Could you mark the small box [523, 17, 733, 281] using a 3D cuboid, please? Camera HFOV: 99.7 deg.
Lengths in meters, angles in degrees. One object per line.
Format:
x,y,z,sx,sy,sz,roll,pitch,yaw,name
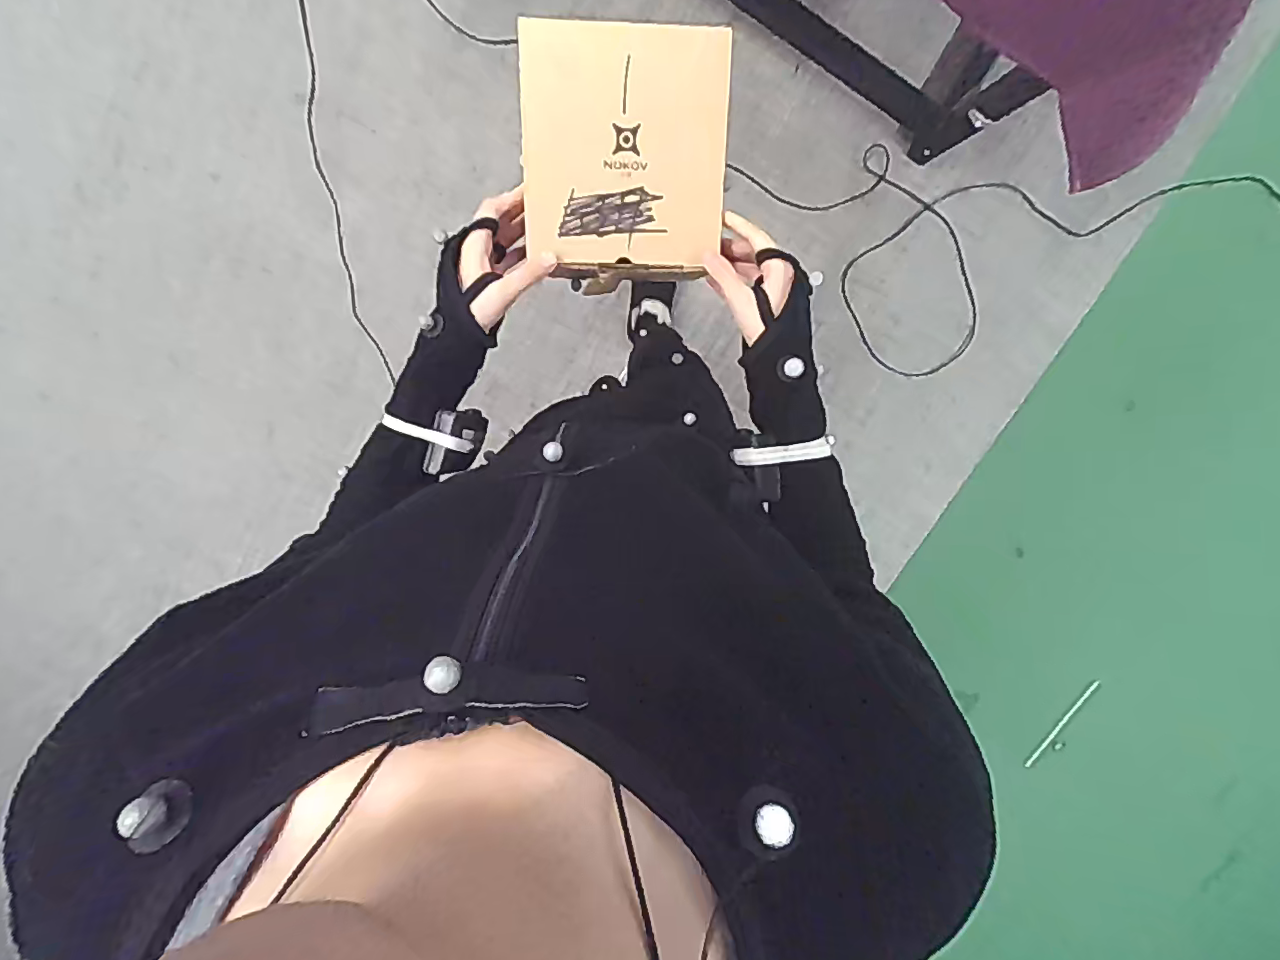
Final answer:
-0.015,-0.288,0.514,0.168,0.176,0.179,0,105,-4,small box
